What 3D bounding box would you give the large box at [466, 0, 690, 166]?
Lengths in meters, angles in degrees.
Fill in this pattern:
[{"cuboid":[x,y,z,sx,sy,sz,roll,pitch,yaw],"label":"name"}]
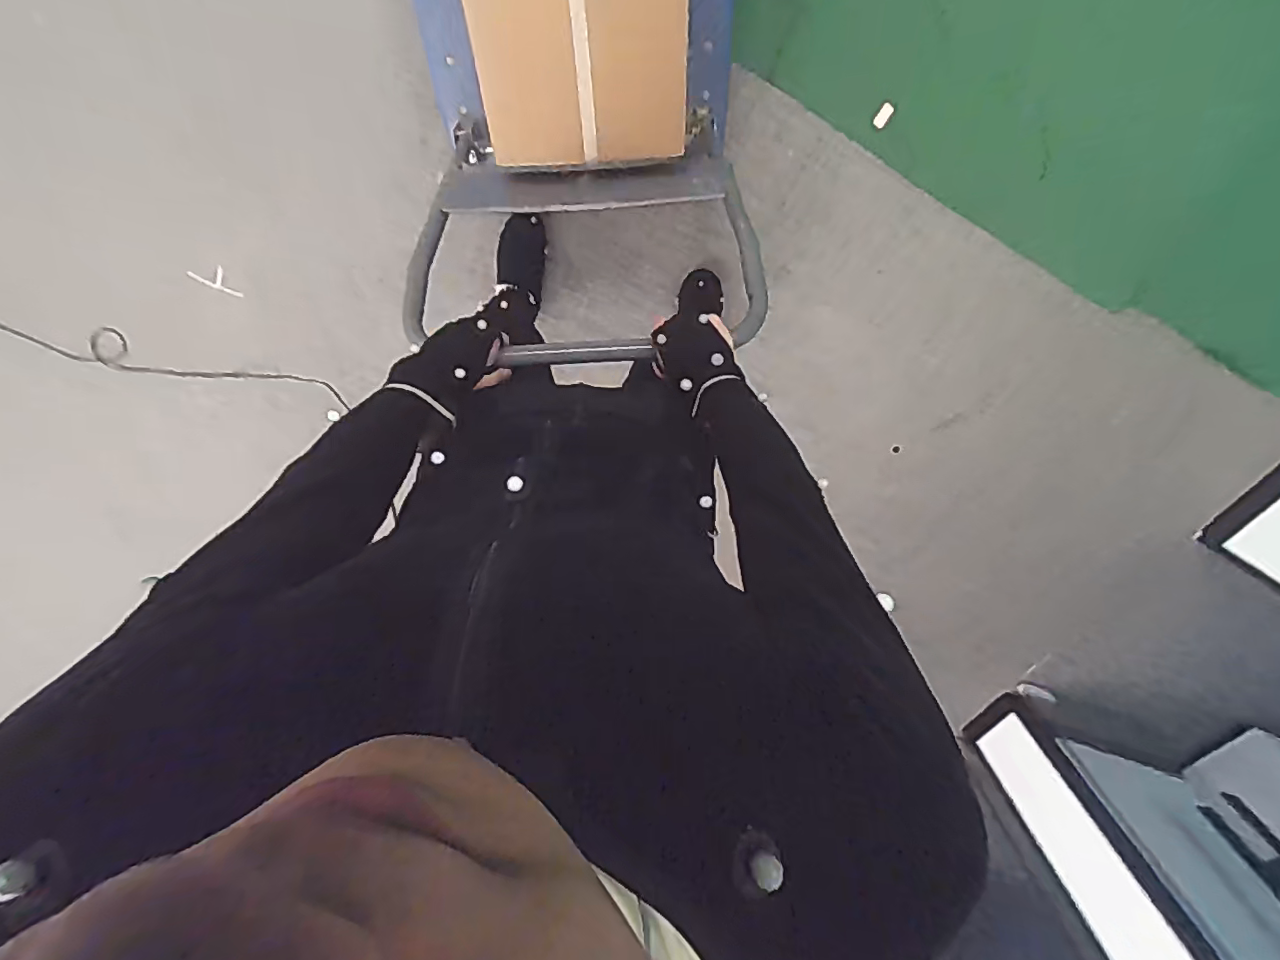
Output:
[{"cuboid":[-0.092,-0.770,0.850,0.320,0.320,0.408,-4,137,0],"label":"large box"}]
